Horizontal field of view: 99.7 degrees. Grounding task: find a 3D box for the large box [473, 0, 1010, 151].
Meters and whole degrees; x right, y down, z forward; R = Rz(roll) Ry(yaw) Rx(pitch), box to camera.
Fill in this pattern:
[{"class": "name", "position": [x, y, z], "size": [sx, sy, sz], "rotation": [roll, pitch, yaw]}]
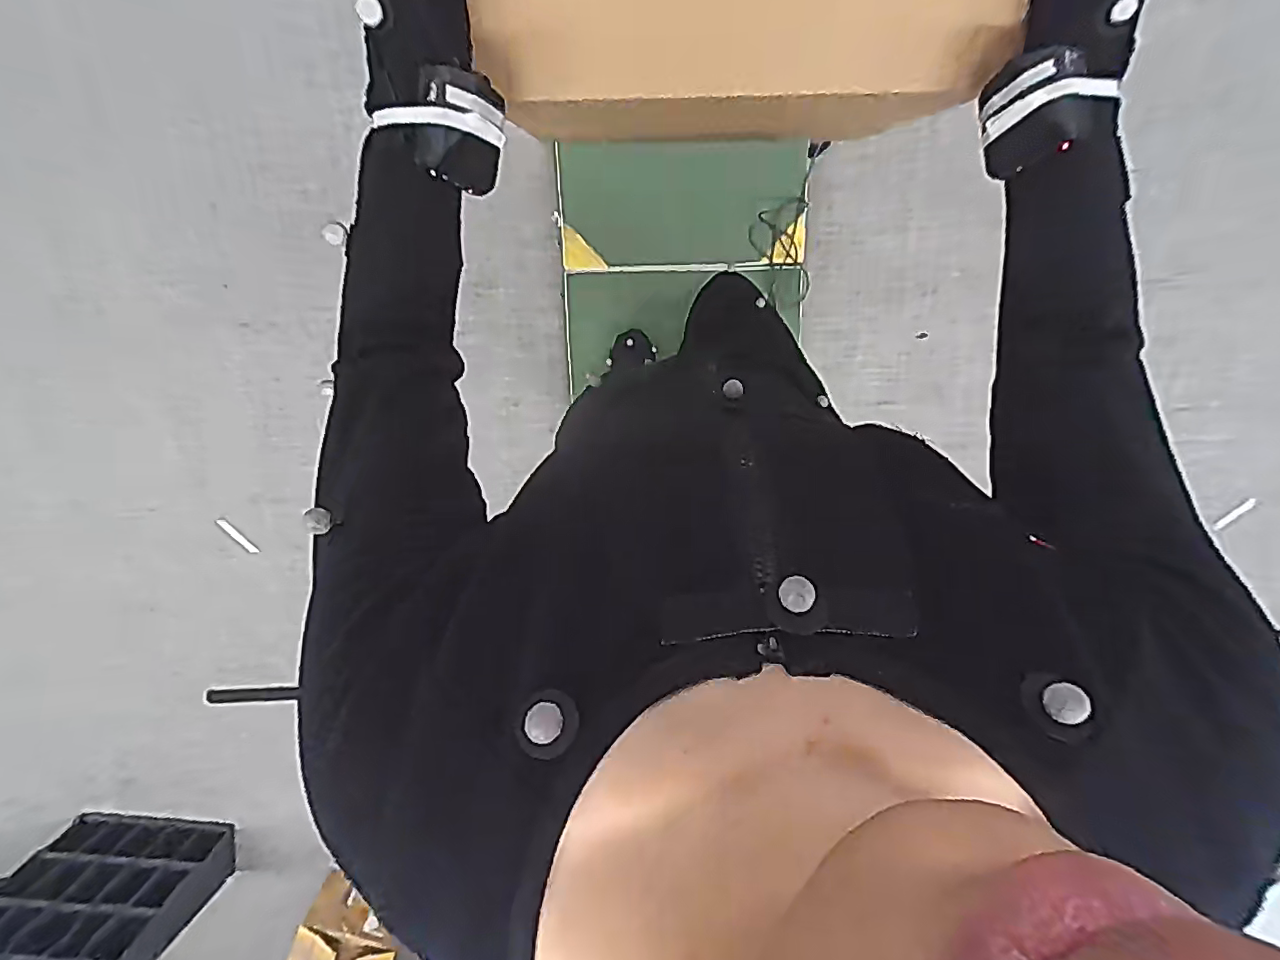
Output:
[{"class": "large box", "position": [0.068, -0.503, 0.488], "size": [0.408, 0.320, 0.320], "rotation": [-2, 116, 0]}]
